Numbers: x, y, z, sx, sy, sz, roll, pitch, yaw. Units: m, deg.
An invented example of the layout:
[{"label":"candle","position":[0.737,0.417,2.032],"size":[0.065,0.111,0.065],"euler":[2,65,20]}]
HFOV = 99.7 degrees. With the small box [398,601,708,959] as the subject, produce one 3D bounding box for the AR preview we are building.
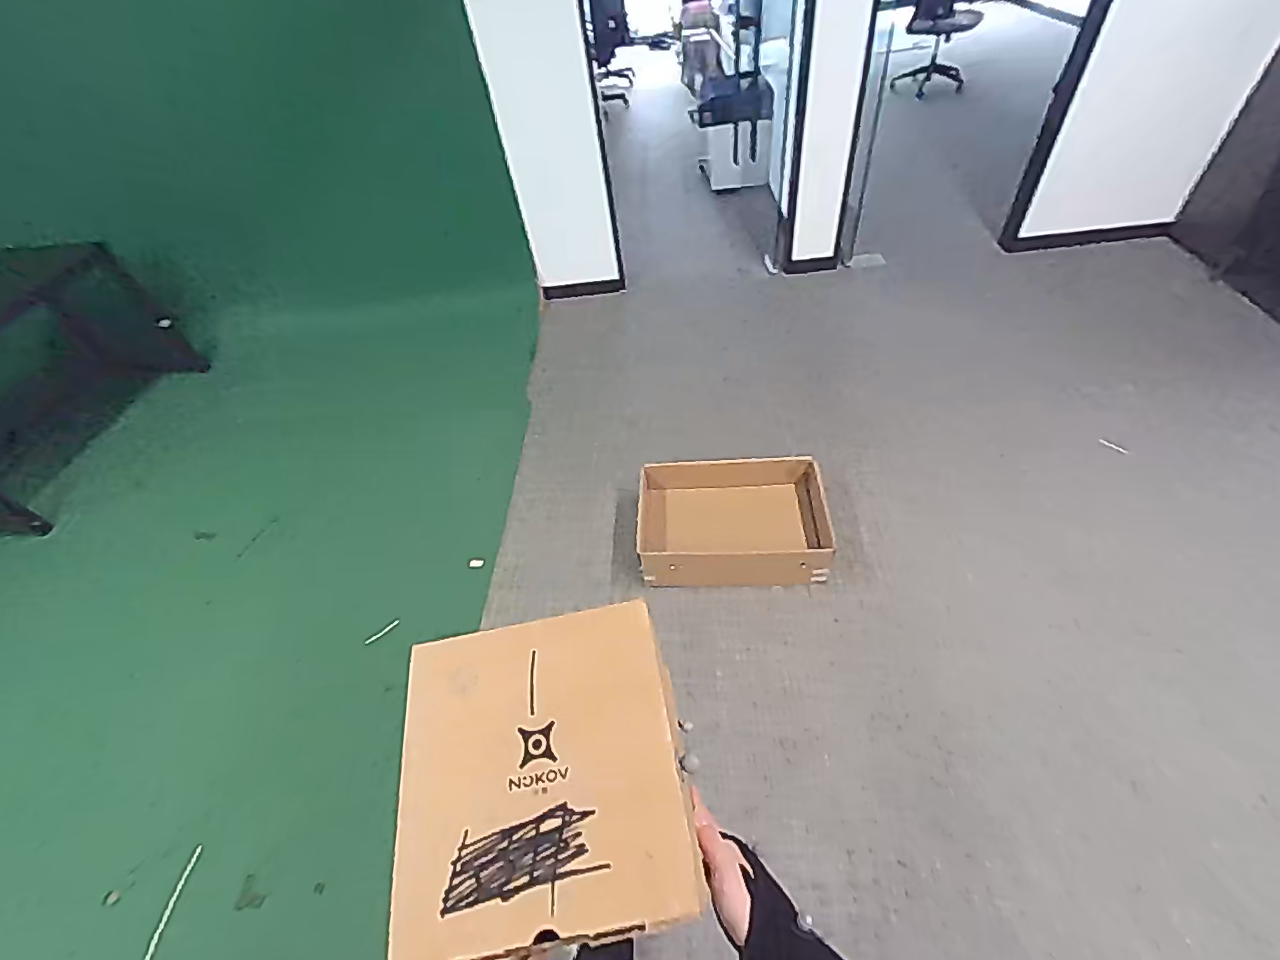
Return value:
[{"label":"small box","position":[-0.047,0.211,0.386],"size":[0.168,0.176,0.179],"euler":[-10,54,-1]}]
